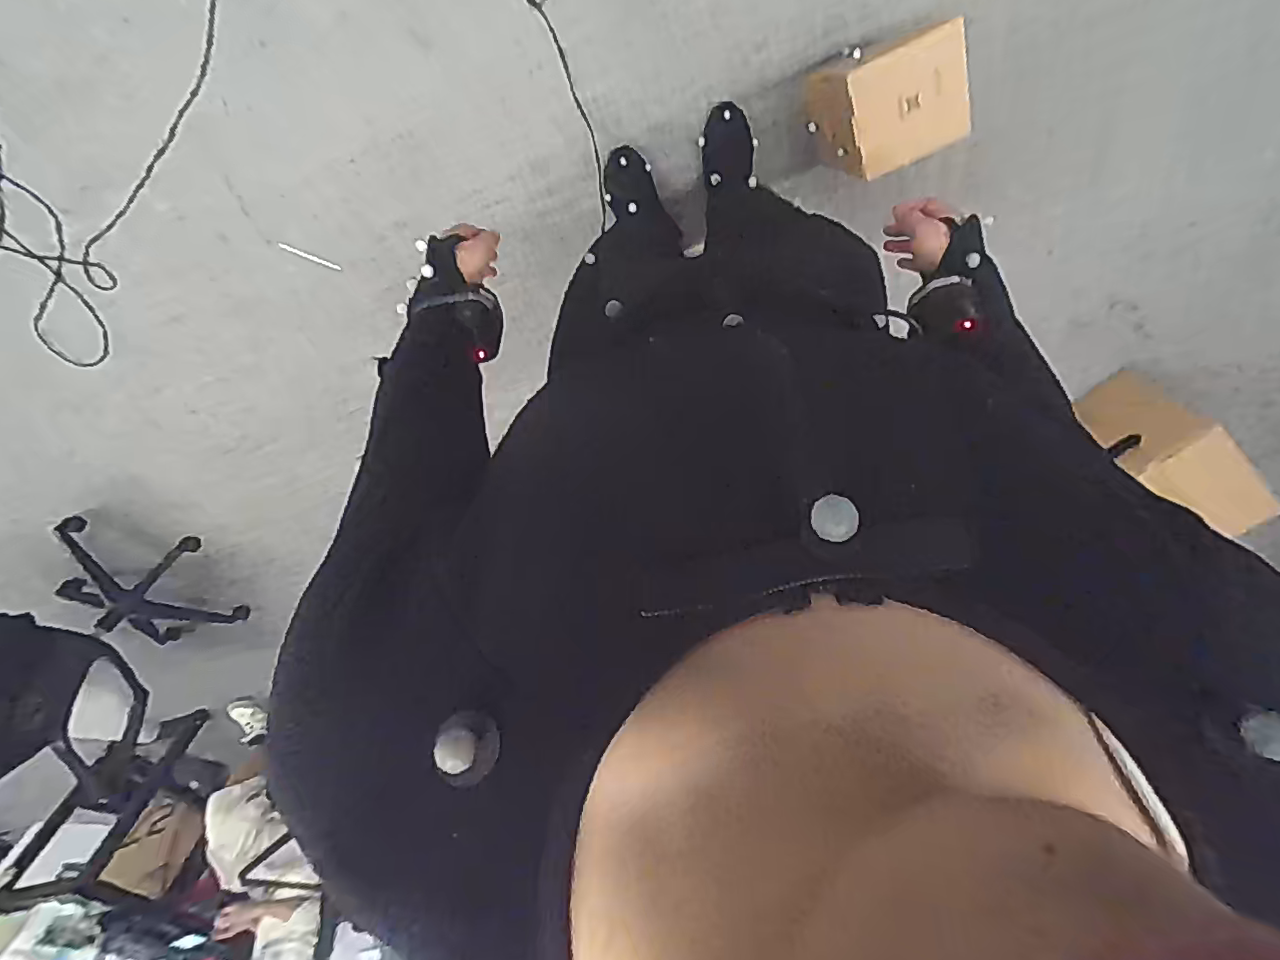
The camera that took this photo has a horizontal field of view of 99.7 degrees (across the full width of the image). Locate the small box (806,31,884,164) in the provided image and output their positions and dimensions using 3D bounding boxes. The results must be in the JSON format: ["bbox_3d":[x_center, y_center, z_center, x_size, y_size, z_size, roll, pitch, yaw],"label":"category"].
[{"bbox_3d":[0.436,-0.752,1.062,0.179,0.176,0.168,-18,125,14],"label":"small box"}]

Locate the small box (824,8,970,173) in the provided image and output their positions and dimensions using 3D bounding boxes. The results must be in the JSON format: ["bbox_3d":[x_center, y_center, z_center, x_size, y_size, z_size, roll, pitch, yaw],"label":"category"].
[{"bbox_3d":[0.430,-0.660,0.927,0.179,0.176,0.168,-21,126,14],"label":"small box"}]
